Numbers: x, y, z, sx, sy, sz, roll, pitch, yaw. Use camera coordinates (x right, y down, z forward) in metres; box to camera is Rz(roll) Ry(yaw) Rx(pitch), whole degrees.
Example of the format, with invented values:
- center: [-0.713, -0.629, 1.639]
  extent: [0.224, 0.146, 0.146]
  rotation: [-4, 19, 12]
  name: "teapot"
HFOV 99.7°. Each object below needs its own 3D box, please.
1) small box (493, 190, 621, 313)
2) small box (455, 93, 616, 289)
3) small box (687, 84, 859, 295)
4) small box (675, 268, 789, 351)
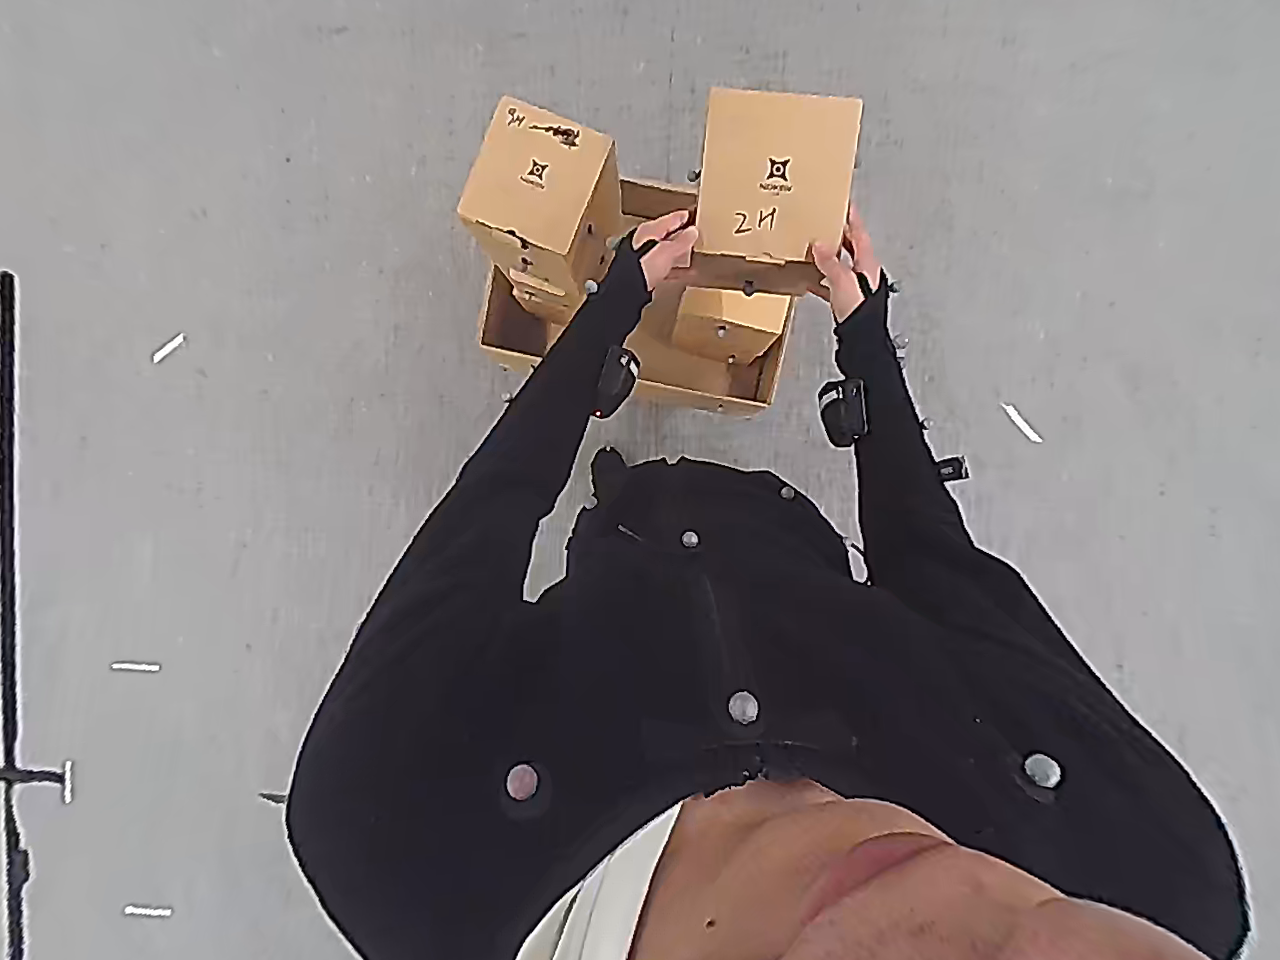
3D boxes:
- center: [-0.138, -0.424, 0.973]
  extent: [0.168, 0.176, 0.179]
  rotation: [19, 91, 1]
  name: "small box"
- center: [-0.142, -0.414, 0.809]
  extent: [0.168, 0.176, 0.179]
  rotation: [23, 92, 0]
  name: "small box"
- center: [0.150, -0.342, 0.669]
  extent: [0.168, 0.176, 0.179]
  rotation: [6, 98, 3]
  name: "small box"
- center: [0.168, -0.341, 0.968]
  extent: [0.179, 0.176, 0.168]
  rotation: [14, 91, 2]
  name: "small box"
